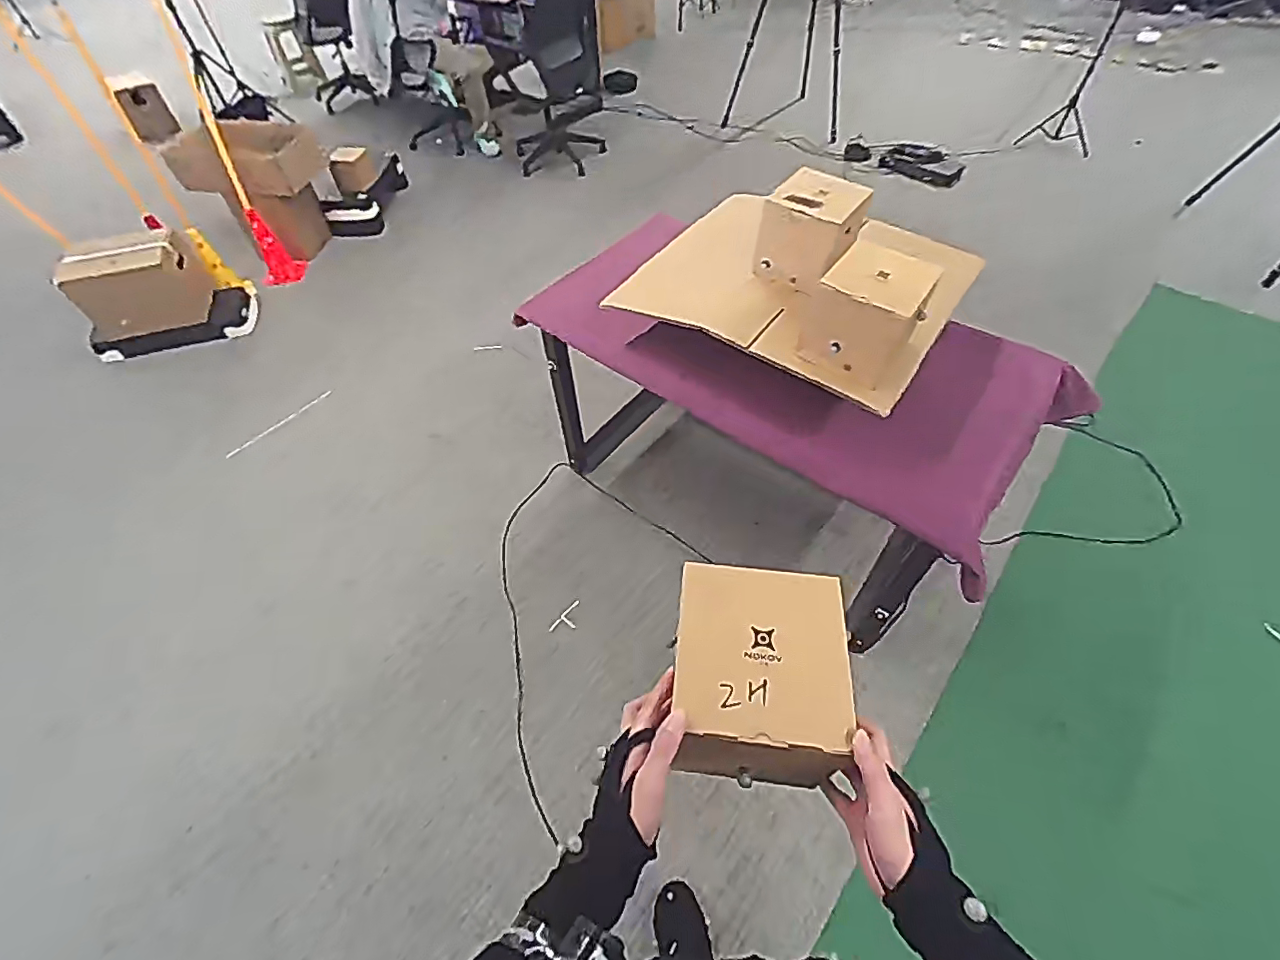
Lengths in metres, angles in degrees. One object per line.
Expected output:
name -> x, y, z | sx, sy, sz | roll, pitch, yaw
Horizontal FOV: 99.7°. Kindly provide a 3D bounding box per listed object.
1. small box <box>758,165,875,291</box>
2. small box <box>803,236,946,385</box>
small box -> 0.371, -0.541, 1.167 | 0.168, 0.176, 0.179 | 32, 60, 20
small box -> 0.429, -0.315, 1.012 | 0.168, 0.176, 0.179 | 32, 62, 20
